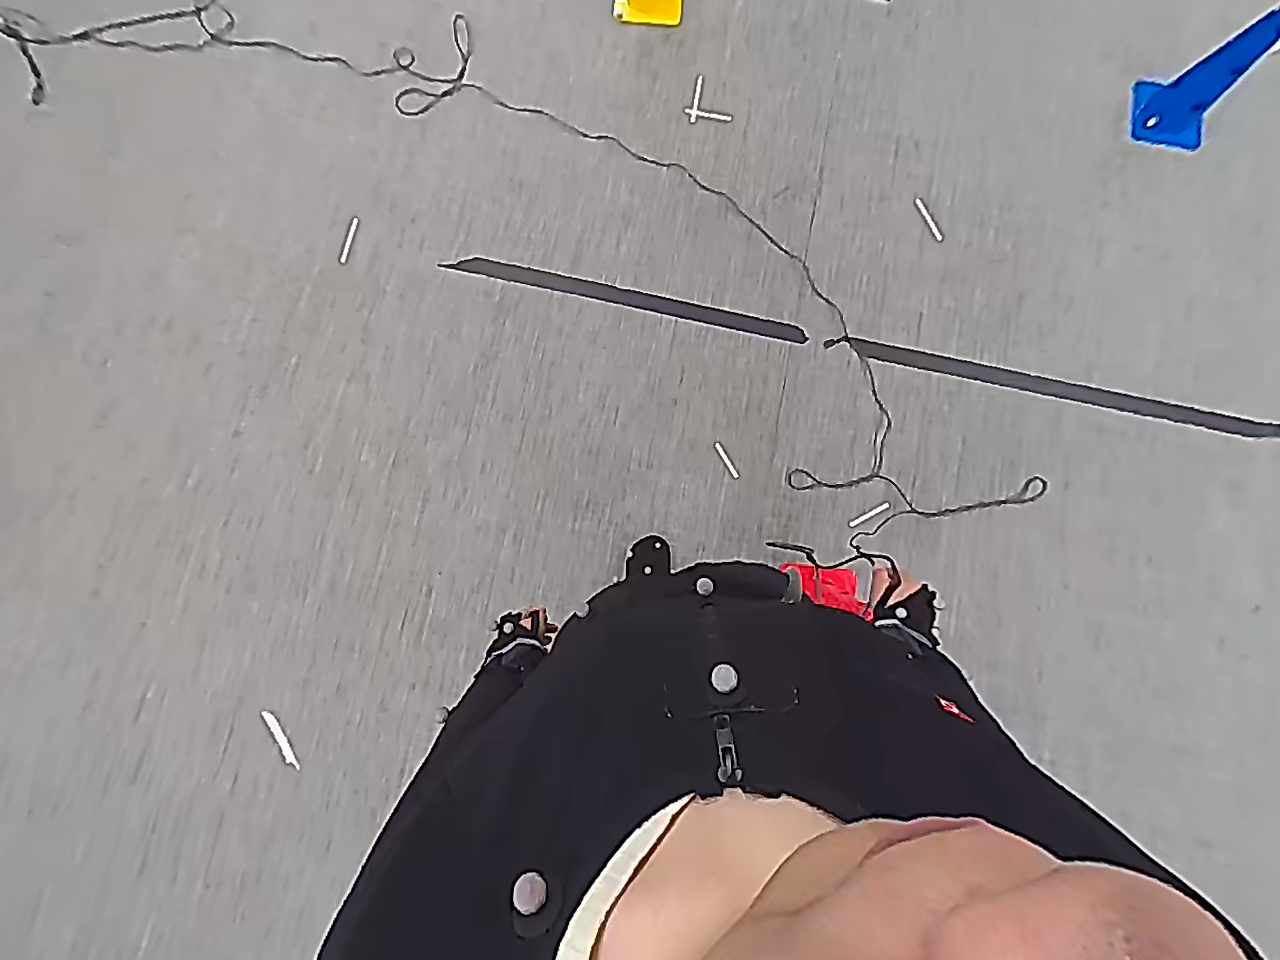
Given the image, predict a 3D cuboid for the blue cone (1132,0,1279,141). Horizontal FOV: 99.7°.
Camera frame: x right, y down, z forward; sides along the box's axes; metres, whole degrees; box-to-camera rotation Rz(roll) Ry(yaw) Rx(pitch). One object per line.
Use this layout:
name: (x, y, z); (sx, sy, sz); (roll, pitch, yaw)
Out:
blue cone: (1.511, -1.093, 1.393); (0.193, 0.380, 0.192); (12, 81, 2)

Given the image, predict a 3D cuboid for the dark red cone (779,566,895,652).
dark red cone: (0.445, 0.288, 1.163); (0.202, 0.394, 0.201); (4, 81, 1)
